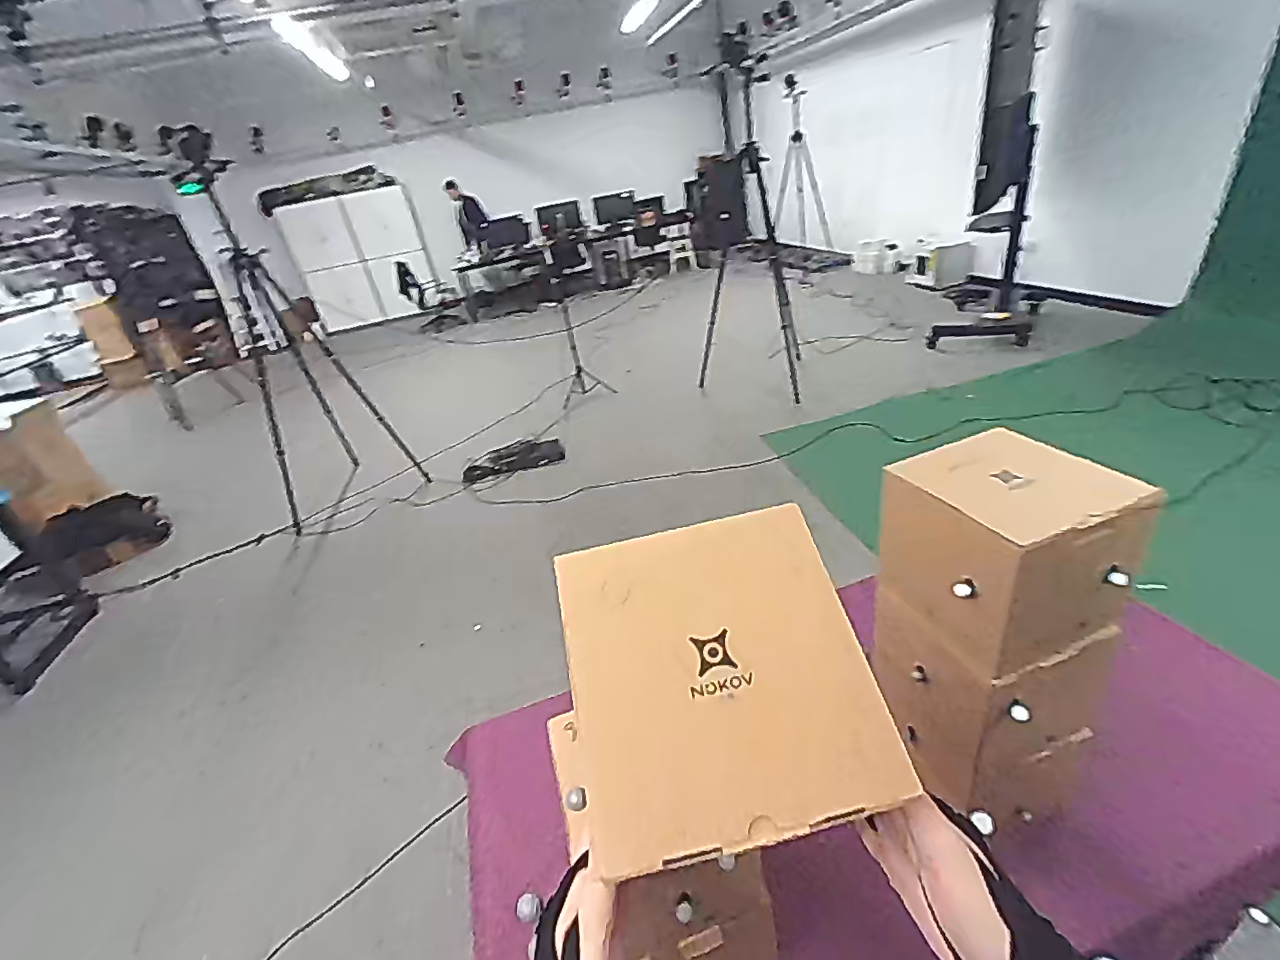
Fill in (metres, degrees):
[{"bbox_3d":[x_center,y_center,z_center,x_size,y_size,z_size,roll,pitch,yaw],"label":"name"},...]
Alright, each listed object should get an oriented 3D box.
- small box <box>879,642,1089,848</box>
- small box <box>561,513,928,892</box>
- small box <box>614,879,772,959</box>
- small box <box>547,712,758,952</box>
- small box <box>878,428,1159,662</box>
[{"bbox_3d":[0.448,0.350,0.739,0.168,0.176,0.179,-17,31,-8],"label":"small box"},{"bbox_3d":[0.049,0.150,0.370,0.168,0.176,0.179,-12,59,-3],"label":"small box"},{"bbox_3d":[0.046,0.489,0.652,0.168,0.176,0.179,-18,30,-11],"label":"small box"},{"bbox_3d":[0.013,0.350,0.571,0.168,0.176,0.179,-17,31,-10],"label":"small box"},{"bbox_3d":[0.383,0.069,0.583,0.168,0.176,0.179,-18,30,-11],"label":"small box"}]
